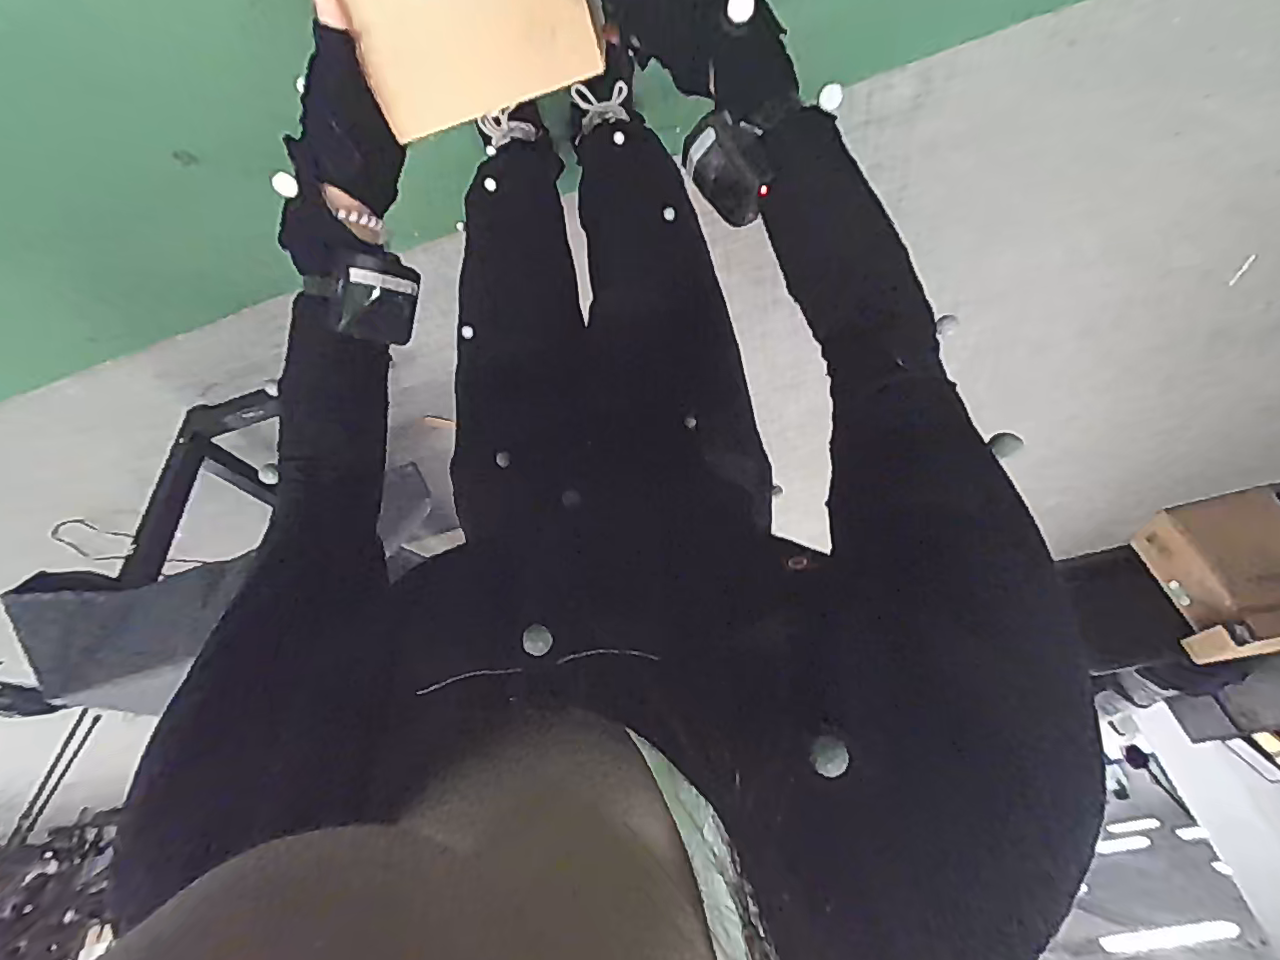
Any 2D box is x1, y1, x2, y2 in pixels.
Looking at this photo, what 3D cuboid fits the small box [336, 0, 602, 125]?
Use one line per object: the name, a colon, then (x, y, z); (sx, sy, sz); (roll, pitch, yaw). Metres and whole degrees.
small box: (-0.129, -0.402, 0.393); (0.168, 0.176, 0.179); (-12, 136, 10)
